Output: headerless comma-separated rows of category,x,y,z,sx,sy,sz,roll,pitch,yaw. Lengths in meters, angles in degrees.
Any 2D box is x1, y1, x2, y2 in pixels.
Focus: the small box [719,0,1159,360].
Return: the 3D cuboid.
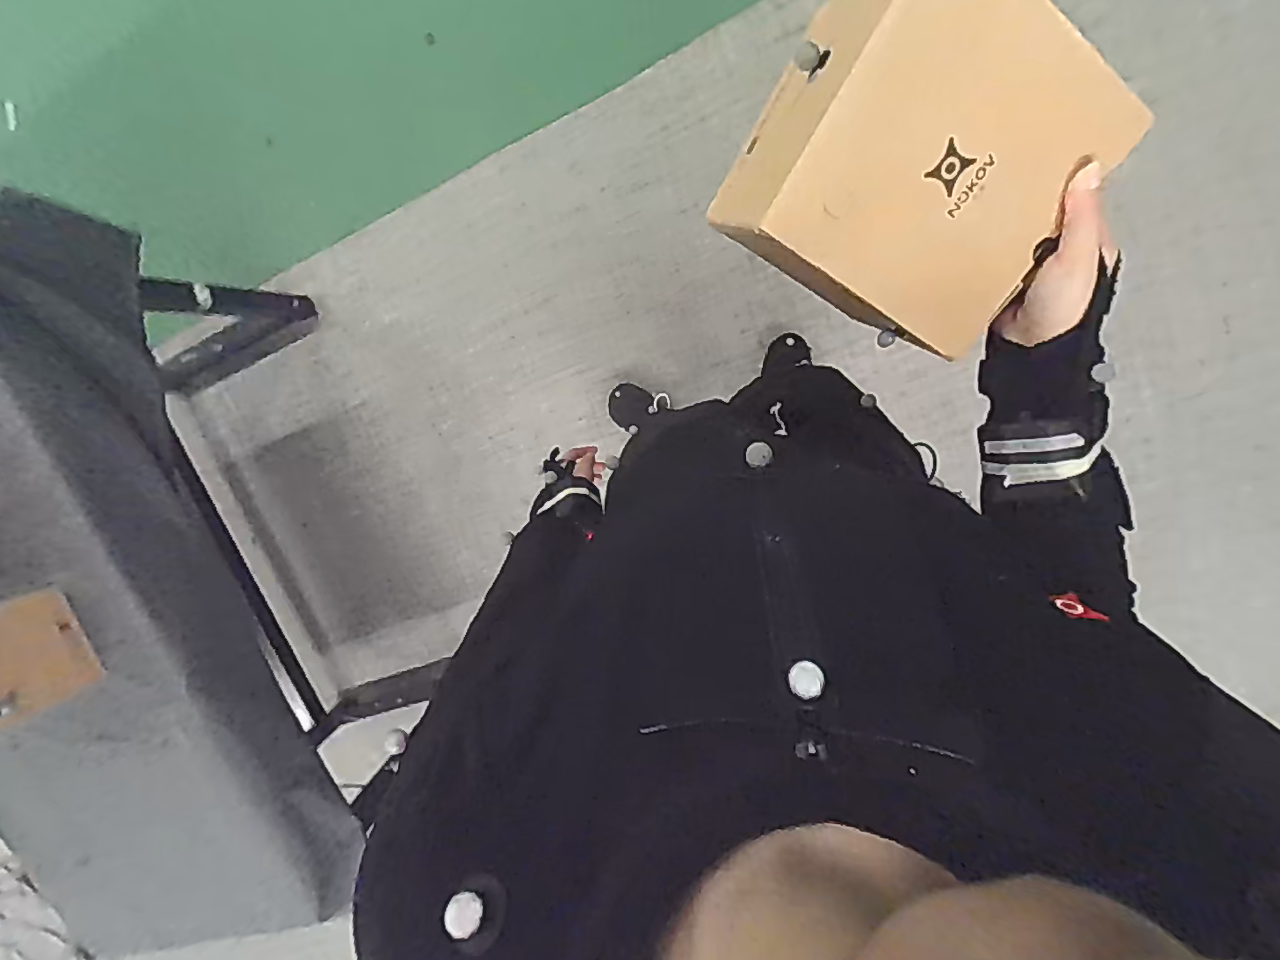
small box,0.181,-0.215,0.386,0.179,0.176,0.168,25,112,-19
